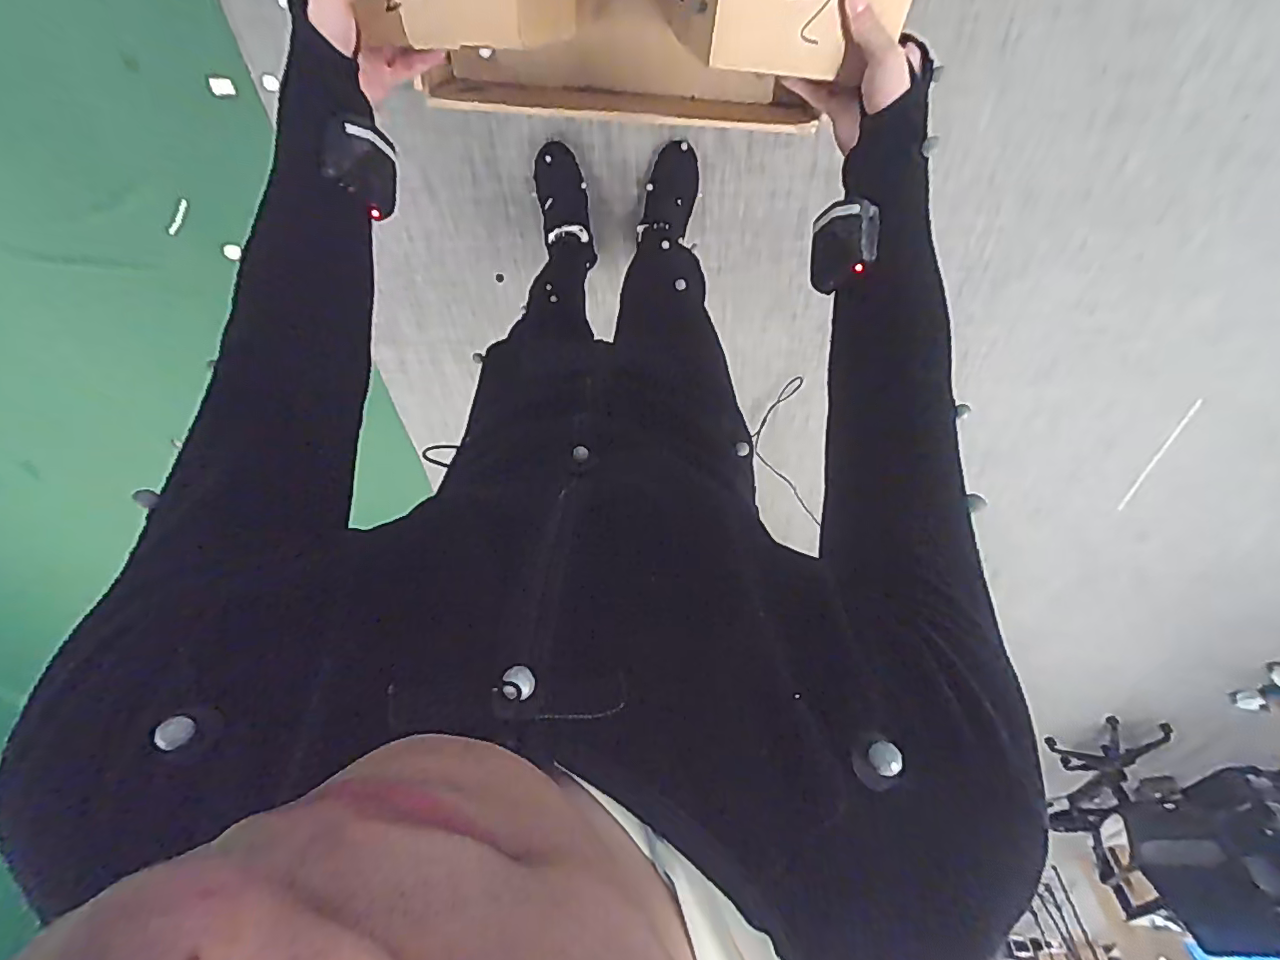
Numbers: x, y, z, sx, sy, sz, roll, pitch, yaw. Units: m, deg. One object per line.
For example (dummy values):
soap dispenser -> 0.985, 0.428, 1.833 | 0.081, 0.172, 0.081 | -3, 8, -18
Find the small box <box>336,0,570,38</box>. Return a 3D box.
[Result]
small box -> -0.169, -0.506, 0.472 | 0.168, 0.176, 0.179 | 7, 135, 9

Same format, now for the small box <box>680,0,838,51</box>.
small box -> 0.136, -0.603, 0.603 | 0.168, 0.176, 0.179 | 3, 132, -2
